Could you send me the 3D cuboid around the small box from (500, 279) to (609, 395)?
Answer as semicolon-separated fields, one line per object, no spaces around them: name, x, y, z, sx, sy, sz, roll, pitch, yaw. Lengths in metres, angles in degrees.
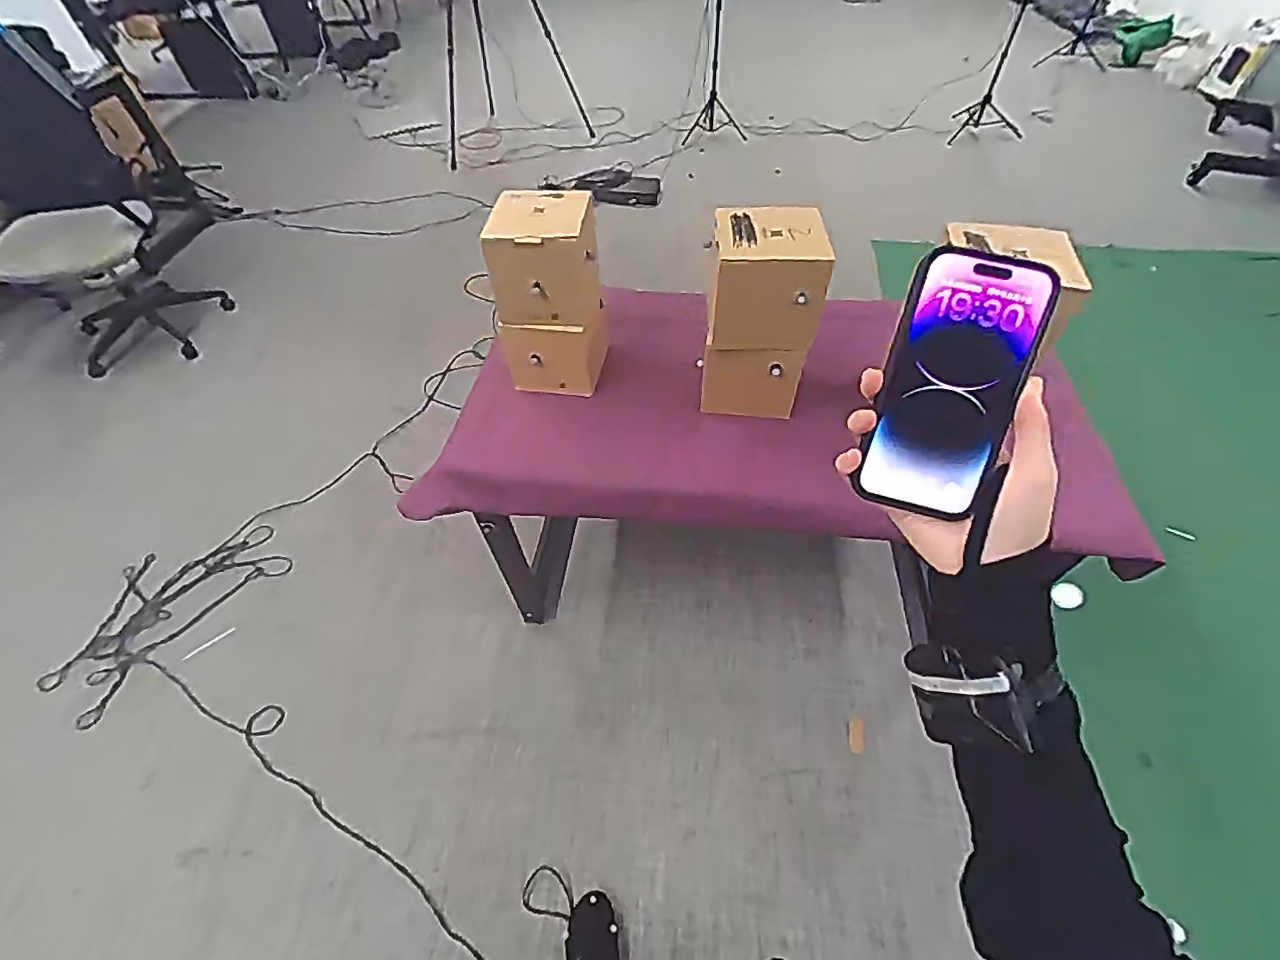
small box;-0.163;-0.292;1.108;0.168;0.176;0.179;6;52;8

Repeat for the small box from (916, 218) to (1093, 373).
small box;0.552;-0.290;0.855;0.179;0.176;0.168;10;52;11

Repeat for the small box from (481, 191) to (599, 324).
small box;-0.170;-0.402;0.985;0.168;0.176;0.179;2;52;4

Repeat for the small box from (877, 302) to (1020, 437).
small box;0.553;-0.200;0.992;0.179;0.176;0.168;10;52;12

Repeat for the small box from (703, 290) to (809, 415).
small box;0.219;-0.242;1.044;0.179;0.176;0.168;5;52;8
